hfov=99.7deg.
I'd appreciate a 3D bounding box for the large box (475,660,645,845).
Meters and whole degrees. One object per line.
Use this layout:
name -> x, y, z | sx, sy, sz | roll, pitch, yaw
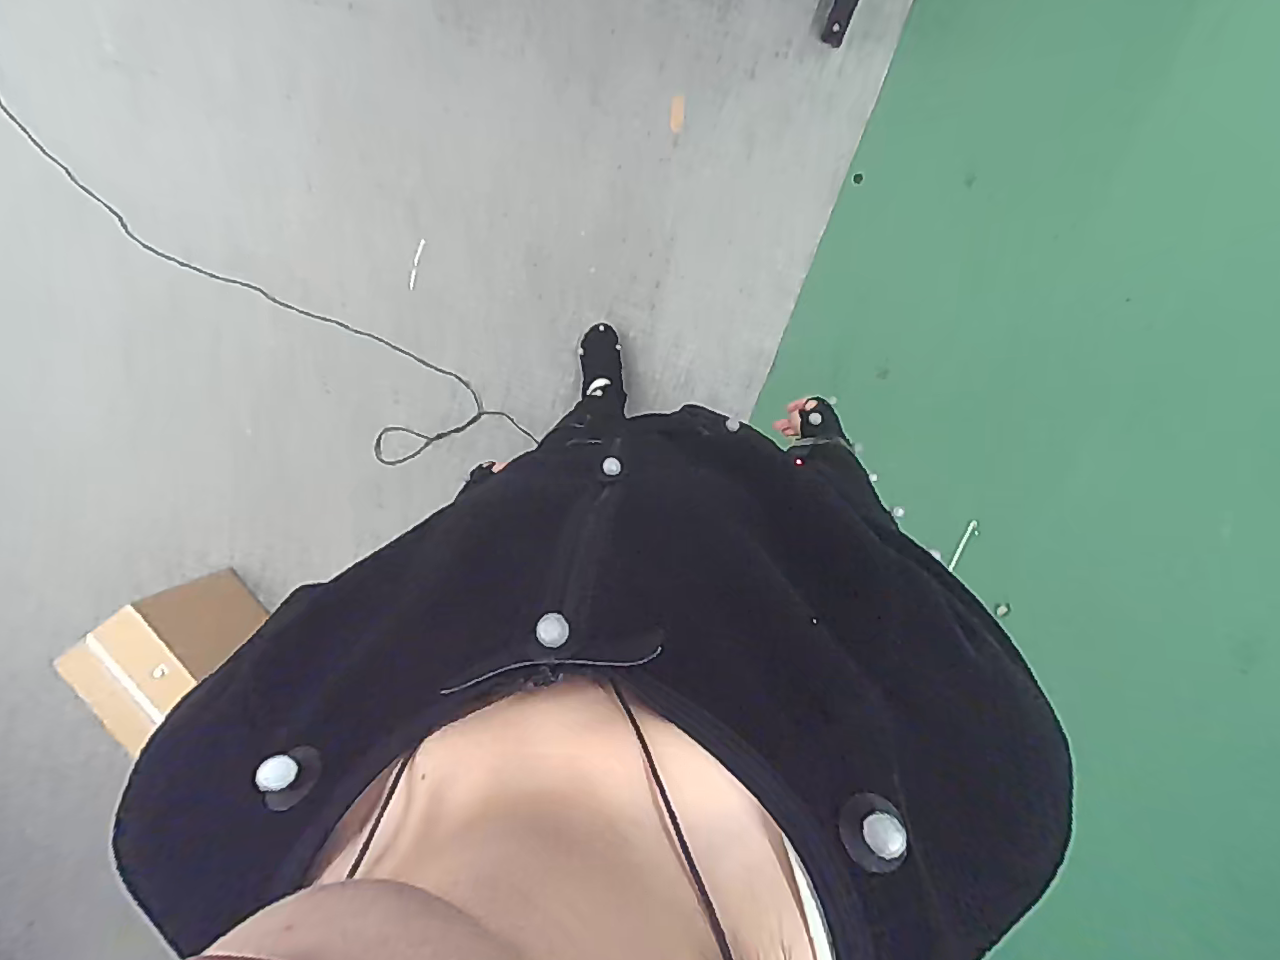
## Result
large box -> -0.204, 0.722, 1.481 | 0.408, 0.320, 0.320 | 6, 100, 3
